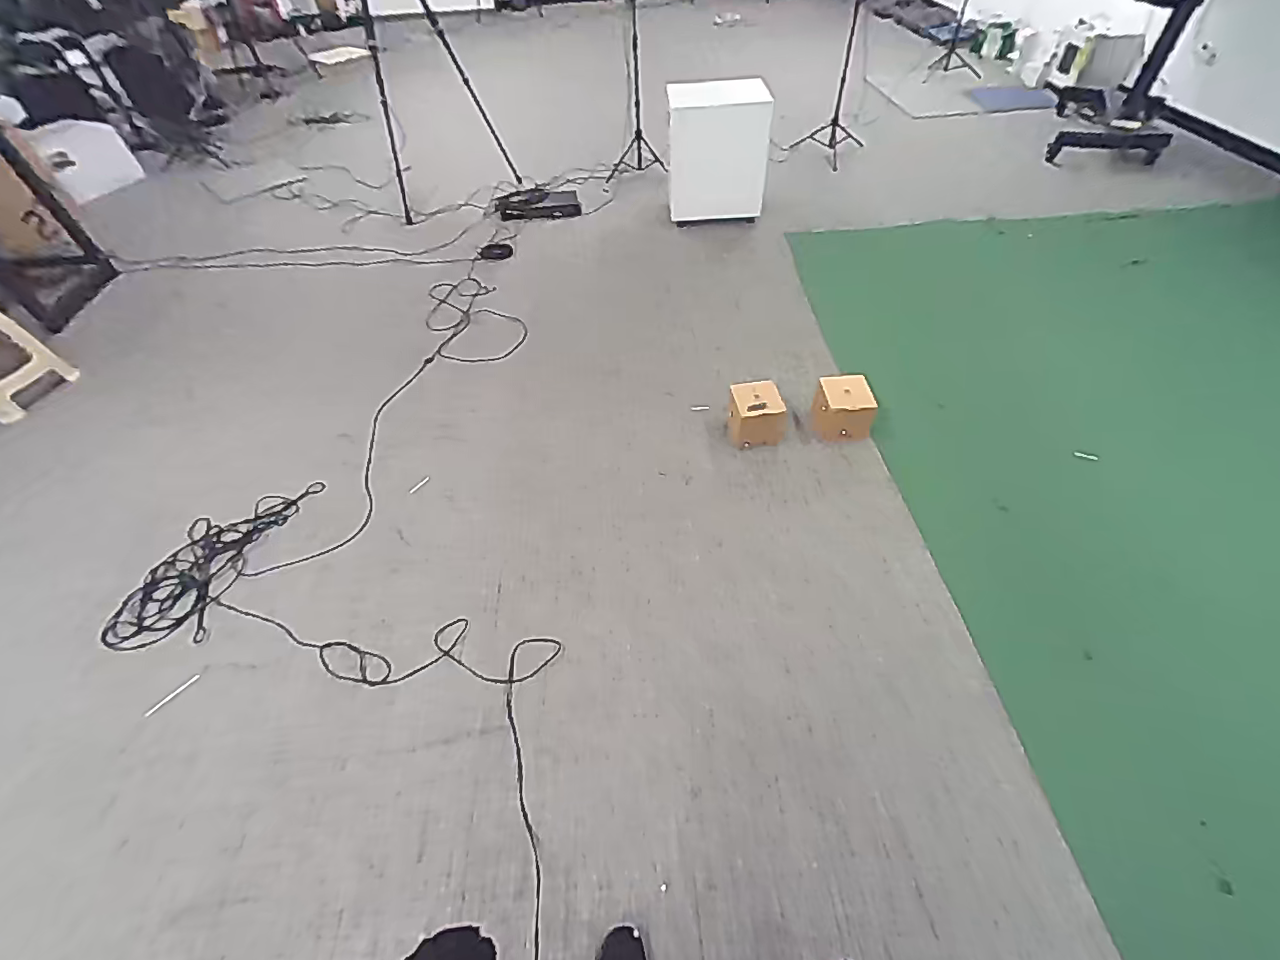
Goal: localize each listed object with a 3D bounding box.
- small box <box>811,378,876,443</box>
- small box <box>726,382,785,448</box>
[{"bbox_3d":[0.744,-0.256,2.002,0.168,0.176,0.179,-4,50,0],"label":"small box"},{"bbox_3d":[0.421,-0.234,1.996,0.168,0.176,0.179,-7,49,-4],"label":"small box"}]
